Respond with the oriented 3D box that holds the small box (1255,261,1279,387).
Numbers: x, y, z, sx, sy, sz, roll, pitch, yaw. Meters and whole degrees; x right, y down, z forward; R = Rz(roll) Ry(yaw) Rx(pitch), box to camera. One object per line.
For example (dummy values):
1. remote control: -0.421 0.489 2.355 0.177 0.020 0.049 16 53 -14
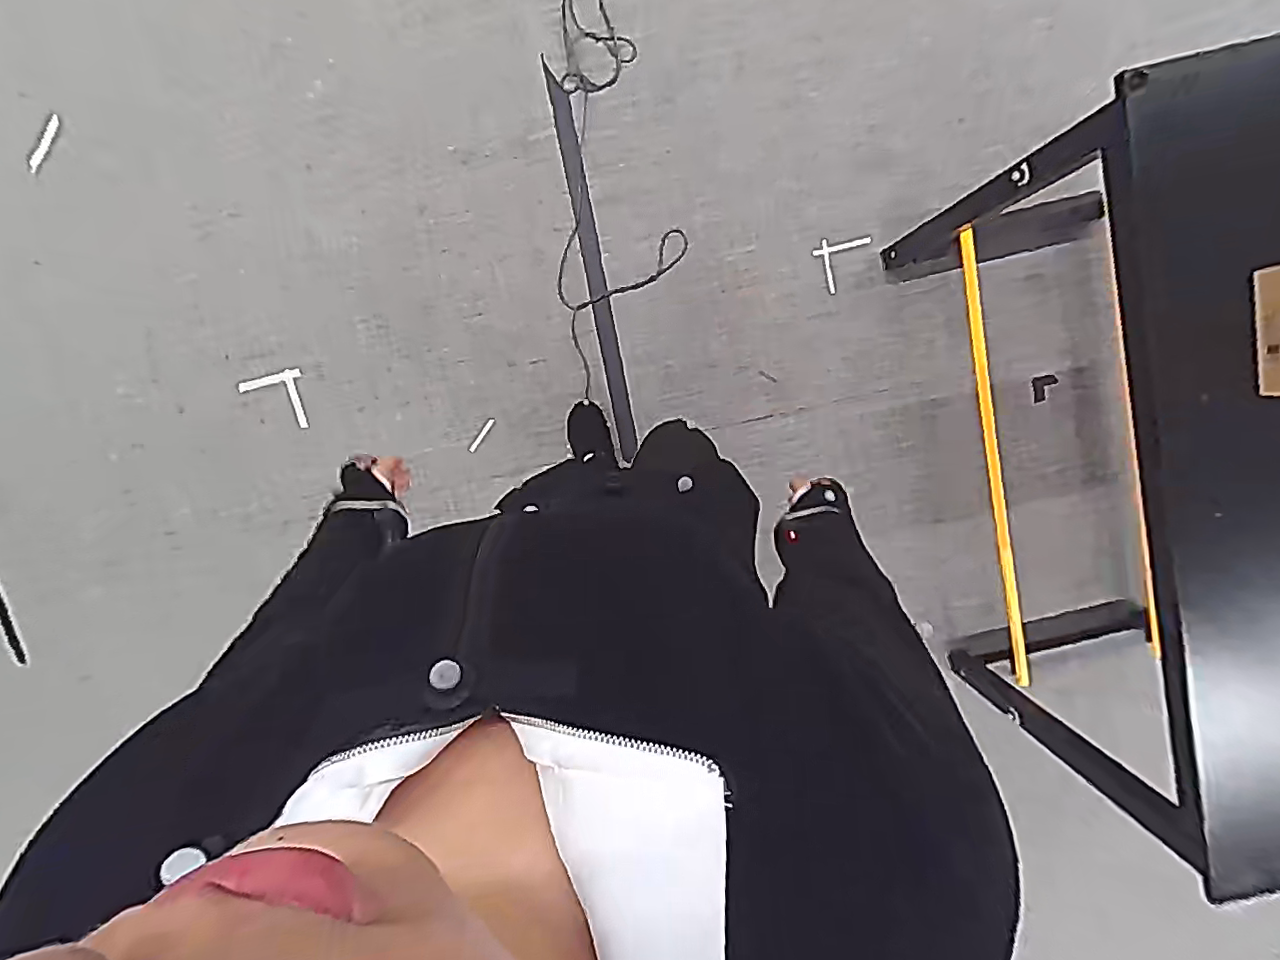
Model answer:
1. small box: 0.905 -0.208 0.637 0.179 0.176 0.168 -11 97 1
